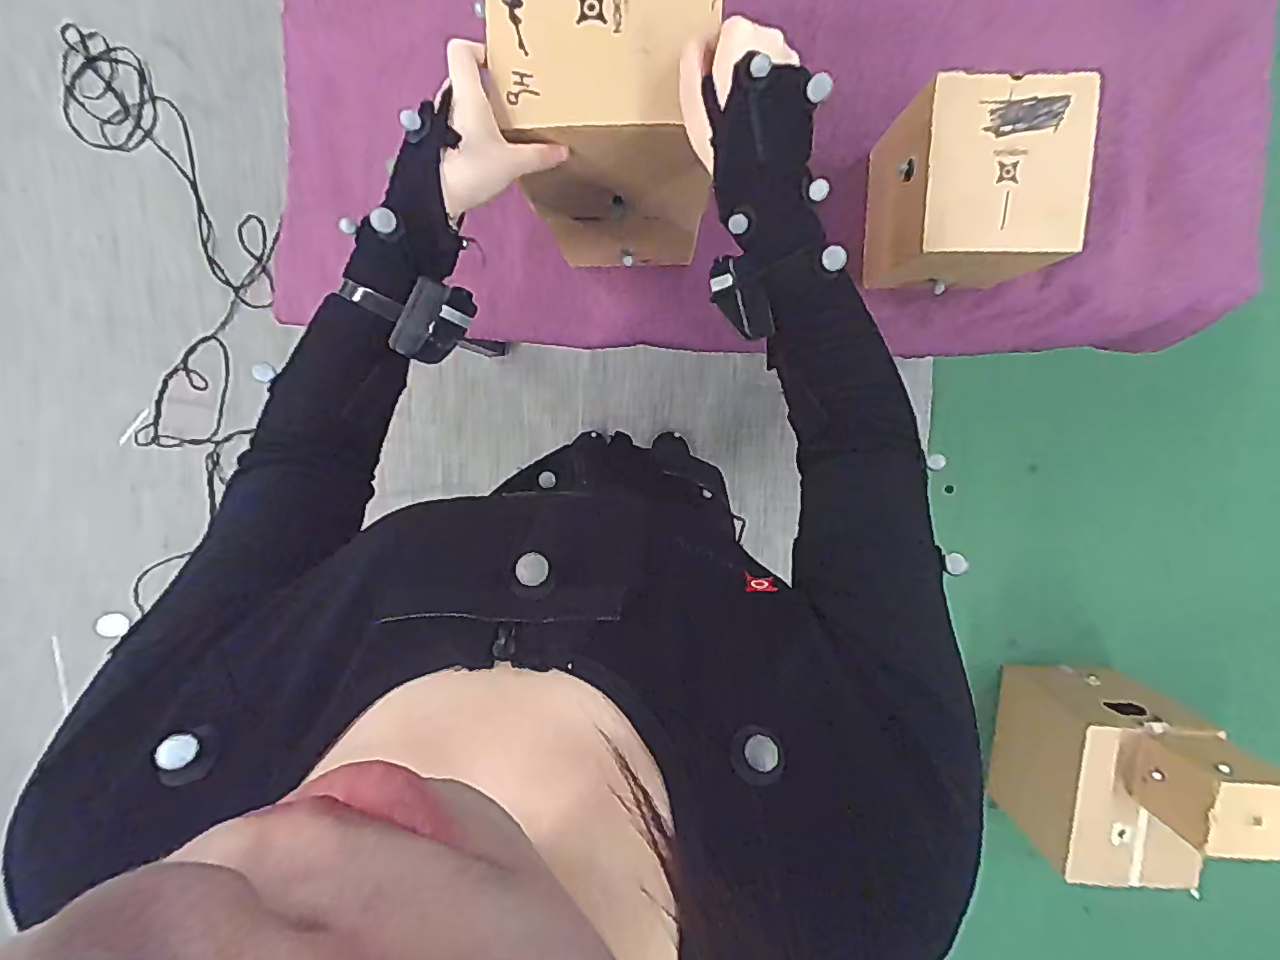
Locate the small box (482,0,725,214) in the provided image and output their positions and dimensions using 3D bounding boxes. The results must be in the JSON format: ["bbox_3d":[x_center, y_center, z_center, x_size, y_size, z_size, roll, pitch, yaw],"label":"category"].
[{"bbox_3d":[-0.026,-0.346,0.463,0.179,0.176,0.168,1,95,1],"label":"small box"}]

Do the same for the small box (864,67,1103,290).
[{"bbox_3d":[0.374,-0.329,0.622,0.168,0.176,0.179,2,97,2],"label":"small box"}]

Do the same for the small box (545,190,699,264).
[{"bbox_3d":[-0.019,-0.366,0.627,0.168,0.176,0.179,0,96,2],"label":"small box"}]

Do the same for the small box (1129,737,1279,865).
[{"bbox_3d":[1.205,0.670,1.144,0.179,0.176,0.168,3,98,1],"label":"small box"}]

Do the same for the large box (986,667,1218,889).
[{"bbox_3d":[1.156,0.743,1.399,0.320,0.320,0.408,3,98,2],"label":"large box"}]
